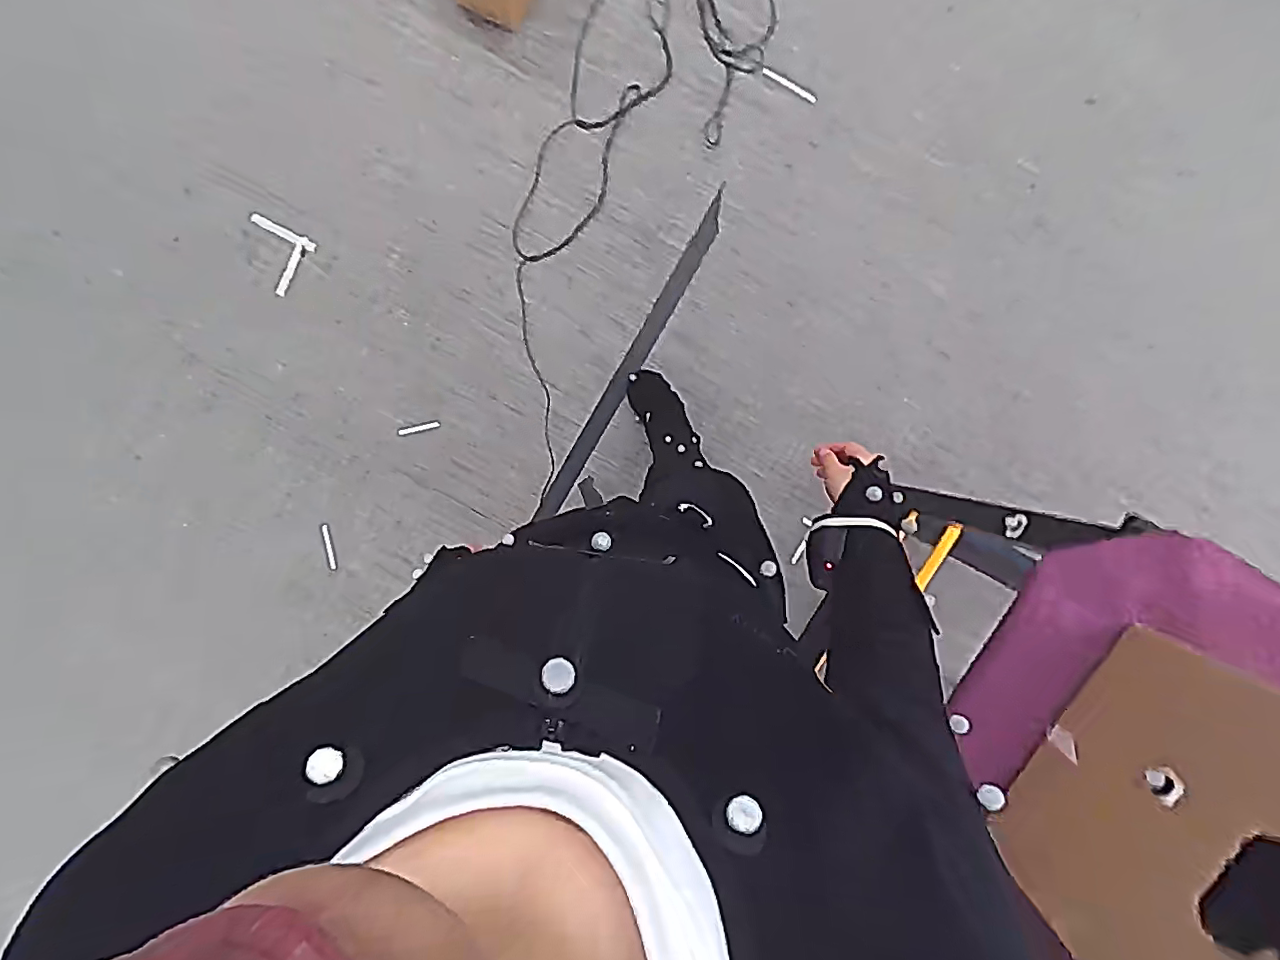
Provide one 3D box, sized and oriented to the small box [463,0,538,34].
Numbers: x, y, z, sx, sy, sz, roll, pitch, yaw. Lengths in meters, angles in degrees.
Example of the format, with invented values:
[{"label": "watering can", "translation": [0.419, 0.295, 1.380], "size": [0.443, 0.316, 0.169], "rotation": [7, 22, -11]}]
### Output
[{"label": "small box", "translation": [-0.320, -1.161, 1.203], "size": [0.168, 0.176, 0.179], "rotation": [28, 95, 0]}]
